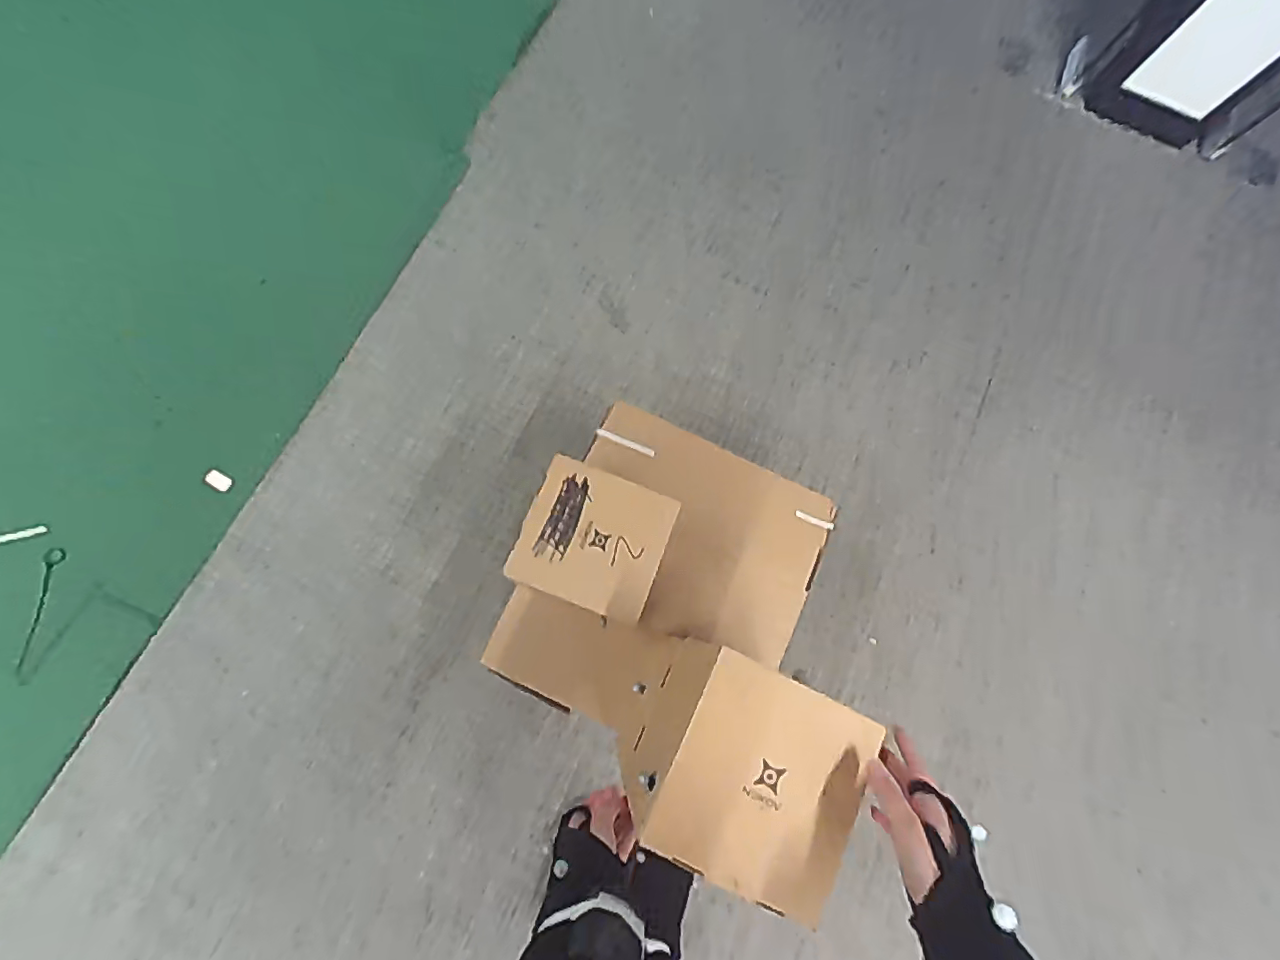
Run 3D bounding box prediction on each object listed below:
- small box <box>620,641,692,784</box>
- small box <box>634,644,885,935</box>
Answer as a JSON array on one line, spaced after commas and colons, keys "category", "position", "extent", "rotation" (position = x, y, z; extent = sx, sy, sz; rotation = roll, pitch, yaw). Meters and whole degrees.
[{"category": "small box", "position": [0.088, 0.318, 0.696], "extent": [0.179, 0.176, 0.168], "rotation": [26, 76, 1]}, {"category": "small box", "position": [0.102, 0.279, 0.540], "extent": [0.168, 0.176, 0.179], "rotation": [27, 76, 1]}]
